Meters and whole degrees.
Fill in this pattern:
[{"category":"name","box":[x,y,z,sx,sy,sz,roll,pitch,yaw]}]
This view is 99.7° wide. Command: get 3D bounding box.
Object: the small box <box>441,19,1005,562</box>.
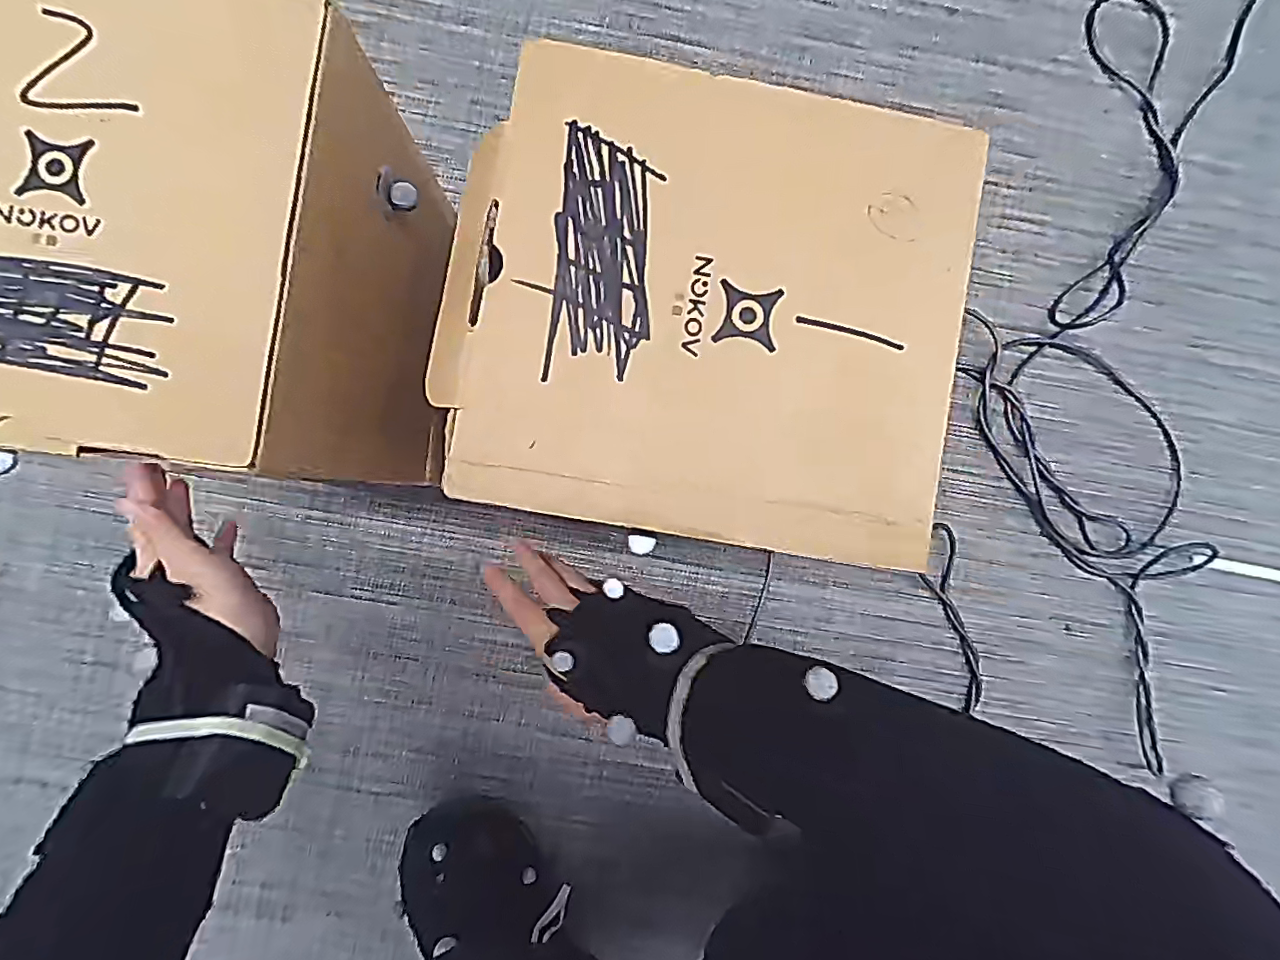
[{"category":"small box","box":[0.028,-0.062,0.266,0.179,0.176,0.168,10,88,-3]}]
